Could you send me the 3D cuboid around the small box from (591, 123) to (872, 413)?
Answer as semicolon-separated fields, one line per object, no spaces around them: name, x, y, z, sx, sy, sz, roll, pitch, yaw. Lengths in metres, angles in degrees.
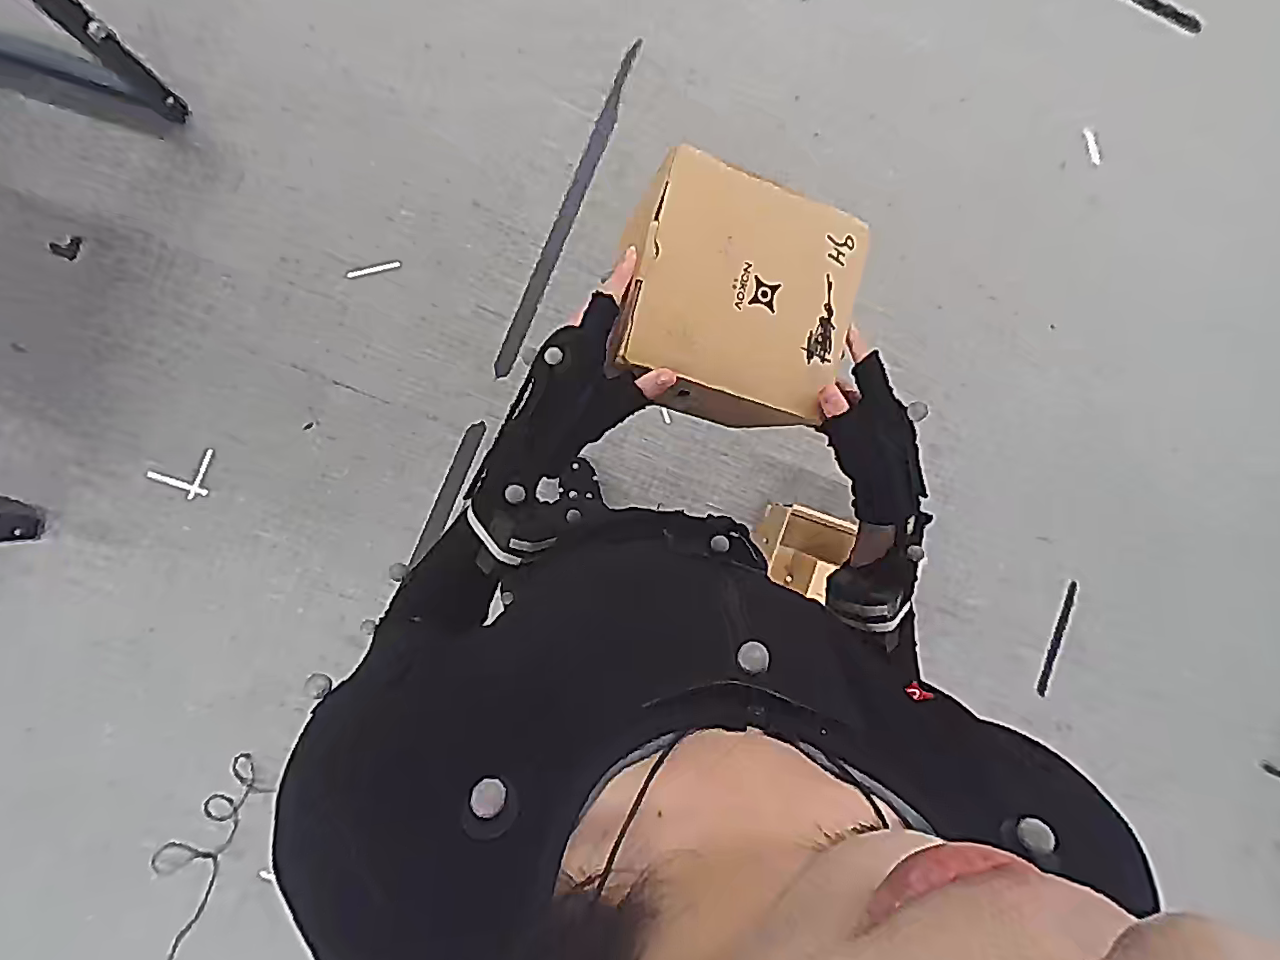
small box;0.064;-0.160;0.480;0.179;0.176;0.168;14;90;-14
